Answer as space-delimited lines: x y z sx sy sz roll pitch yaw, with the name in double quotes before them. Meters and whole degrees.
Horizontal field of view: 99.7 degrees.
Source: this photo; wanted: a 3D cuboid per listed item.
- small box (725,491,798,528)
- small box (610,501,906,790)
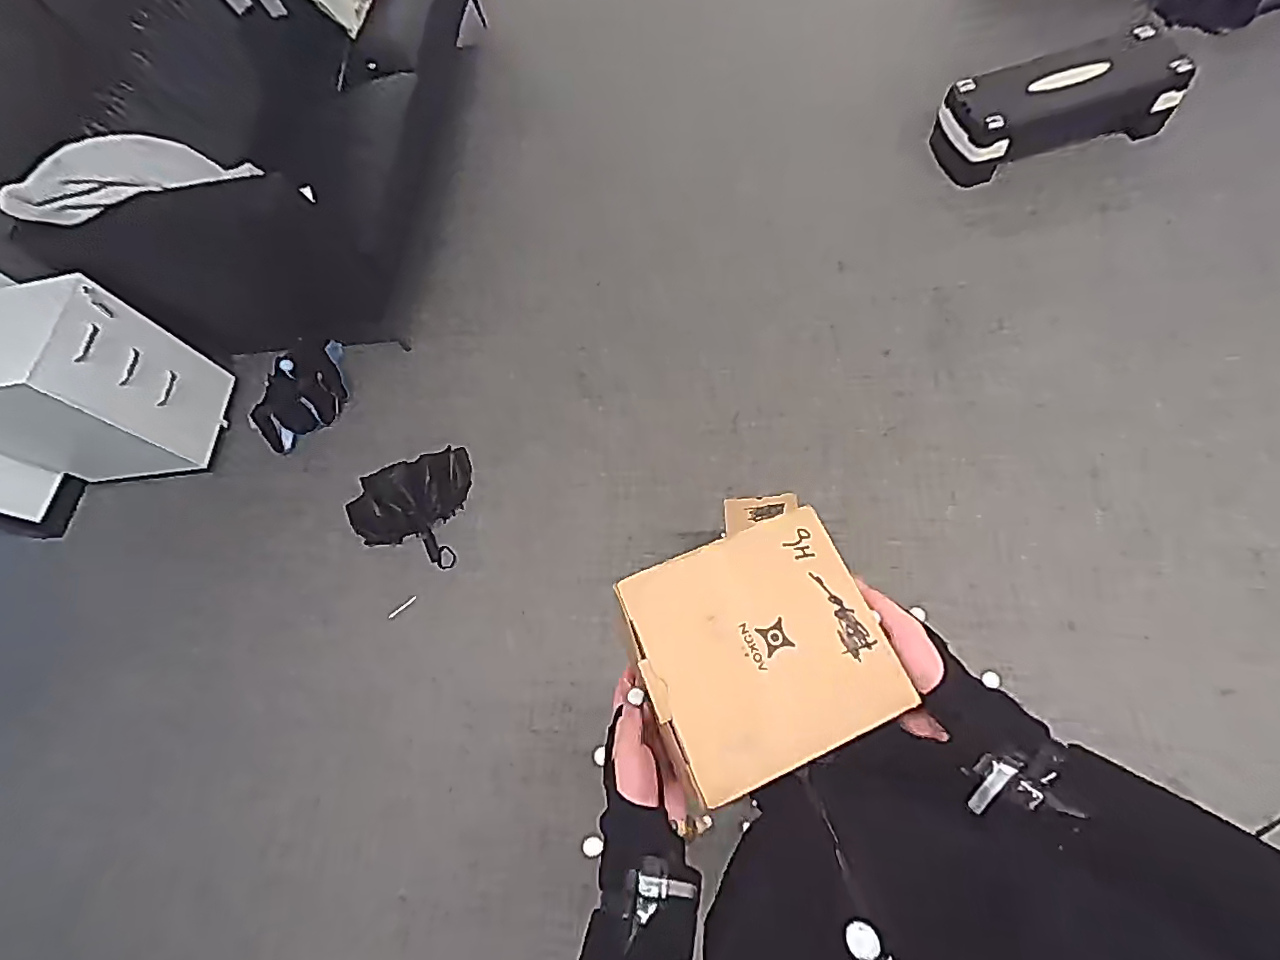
"small box" 0.294 0.142 1.285 0.168 0.176 0.179 -6 66 11
"small box" 0.084 0.146 0.480 0.179 0.176 0.168 -21 70 -10
